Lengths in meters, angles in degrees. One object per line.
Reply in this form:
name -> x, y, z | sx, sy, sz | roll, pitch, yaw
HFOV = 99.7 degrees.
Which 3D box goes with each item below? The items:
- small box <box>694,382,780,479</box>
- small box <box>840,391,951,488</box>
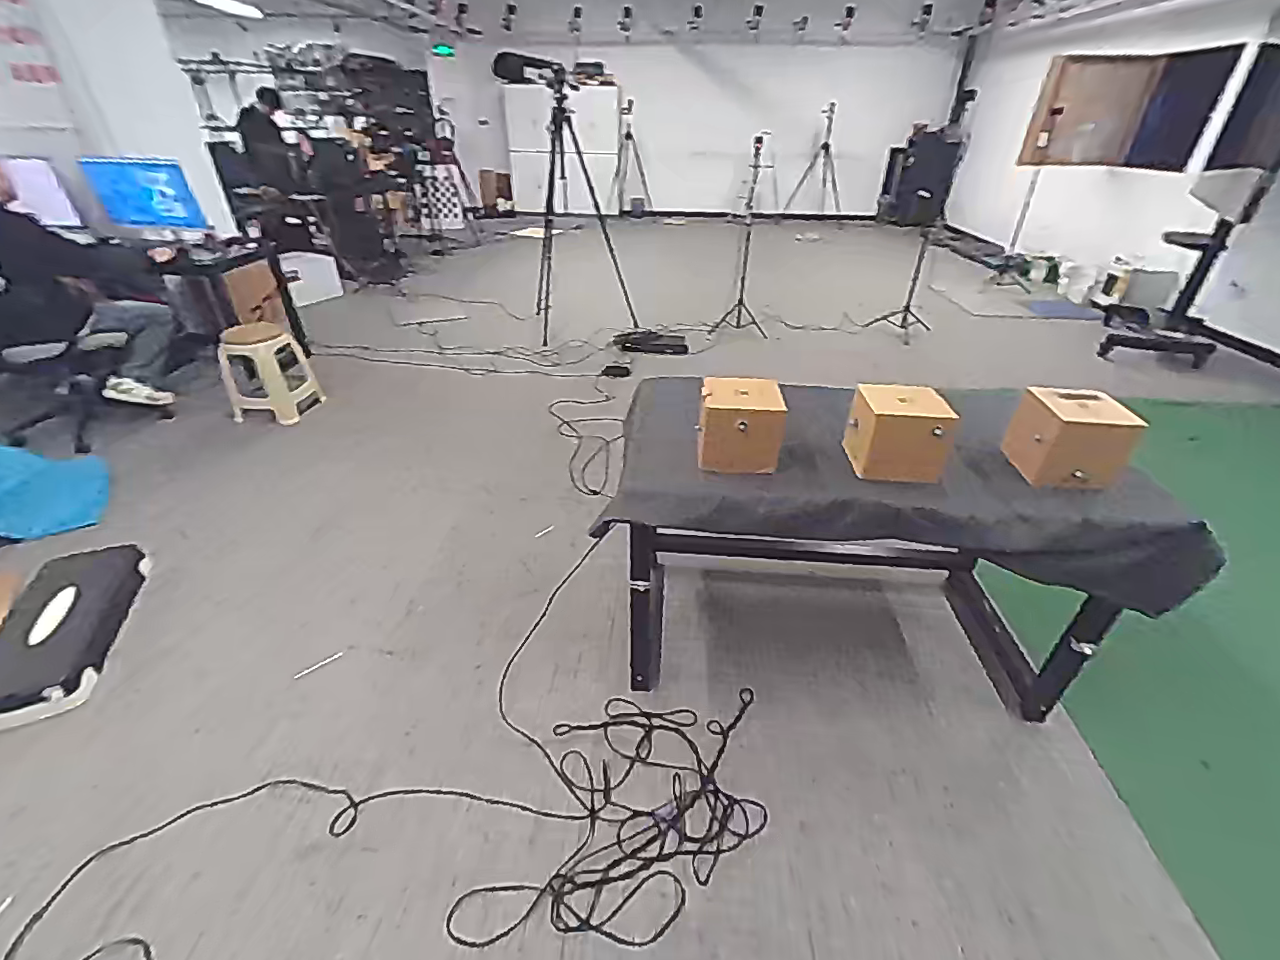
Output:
small box -> 0.217, -0.116, 1.264 | 0.179, 0.176, 0.168 | 4, 34, 1
small box -> 0.574, -0.095, 1.247 | 0.179, 0.176, 0.168 | 4, 32, 3
